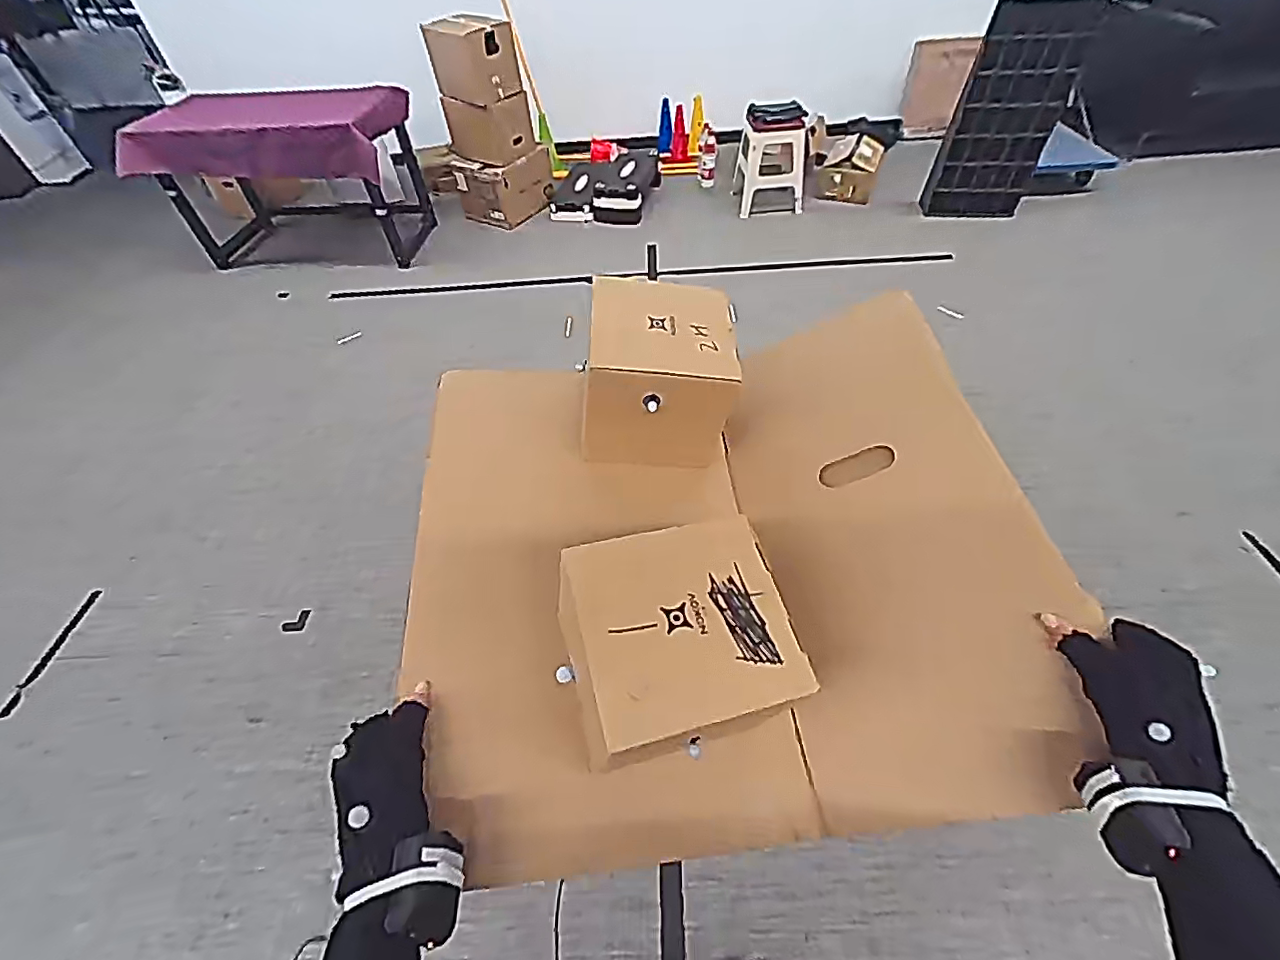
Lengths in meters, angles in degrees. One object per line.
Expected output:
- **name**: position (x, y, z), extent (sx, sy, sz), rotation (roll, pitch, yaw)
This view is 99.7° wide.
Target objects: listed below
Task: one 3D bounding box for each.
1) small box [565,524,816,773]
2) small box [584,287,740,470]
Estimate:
- **small box**: position (0.029, 0.164, 0.519), extent (0.179, 0.176, 0.168), rotation (-9, 58, -15)
- **small box**: position (0.019, -0.128, 0.718), extent (0.179, 0.176, 0.168), rotation (4, 55, -7)
